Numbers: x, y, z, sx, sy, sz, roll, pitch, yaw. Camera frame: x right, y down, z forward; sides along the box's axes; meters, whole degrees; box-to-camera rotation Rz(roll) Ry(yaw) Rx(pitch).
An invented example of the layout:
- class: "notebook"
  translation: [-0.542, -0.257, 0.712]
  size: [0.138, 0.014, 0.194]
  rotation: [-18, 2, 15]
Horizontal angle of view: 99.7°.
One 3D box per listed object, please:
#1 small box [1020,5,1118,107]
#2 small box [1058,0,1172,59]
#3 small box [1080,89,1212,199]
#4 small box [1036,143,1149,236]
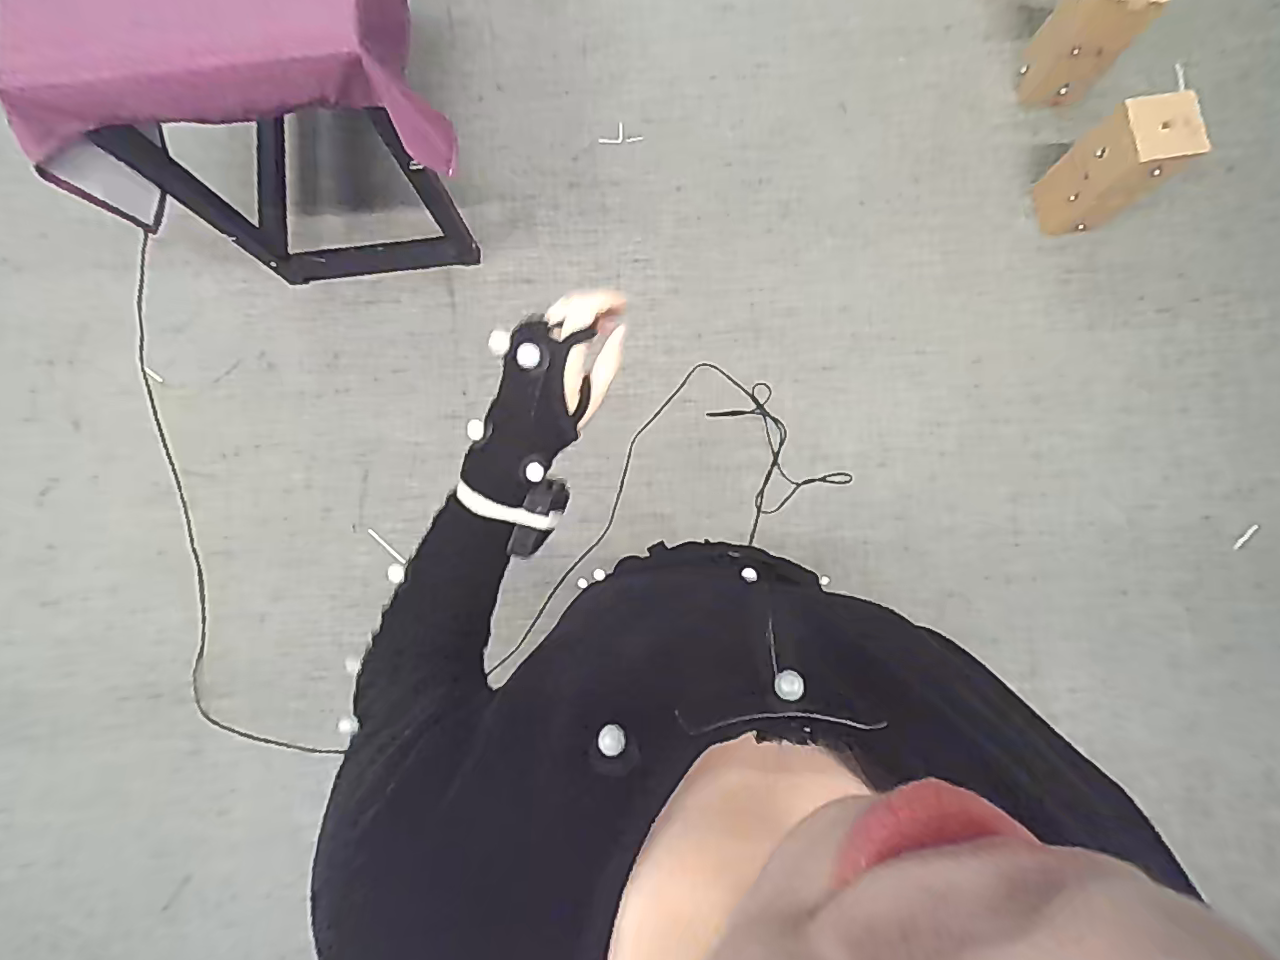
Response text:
- class: "small box"
  translation: [1.255, -1.241, 1.590]
  size: [0.168, 0.176, 0.179]
  rotation: [5, 84, 1]
- class: "small box"
  translation: [1.246, -1.261, 1.426]
  size: [0.168, 0.176, 0.179]
  rotation: [5, 82, 1]
- class: "small box"
  translation: [1.271, -0.845, 1.377]
  size: [0.179, 0.176, 0.168]
  rotation: [-8, 84, 0]
- class: "small box"
  translation: [1.278, -0.831, 1.542]
  size: [0.168, 0.176, 0.179]
  rotation: [-8, 84, 0]
